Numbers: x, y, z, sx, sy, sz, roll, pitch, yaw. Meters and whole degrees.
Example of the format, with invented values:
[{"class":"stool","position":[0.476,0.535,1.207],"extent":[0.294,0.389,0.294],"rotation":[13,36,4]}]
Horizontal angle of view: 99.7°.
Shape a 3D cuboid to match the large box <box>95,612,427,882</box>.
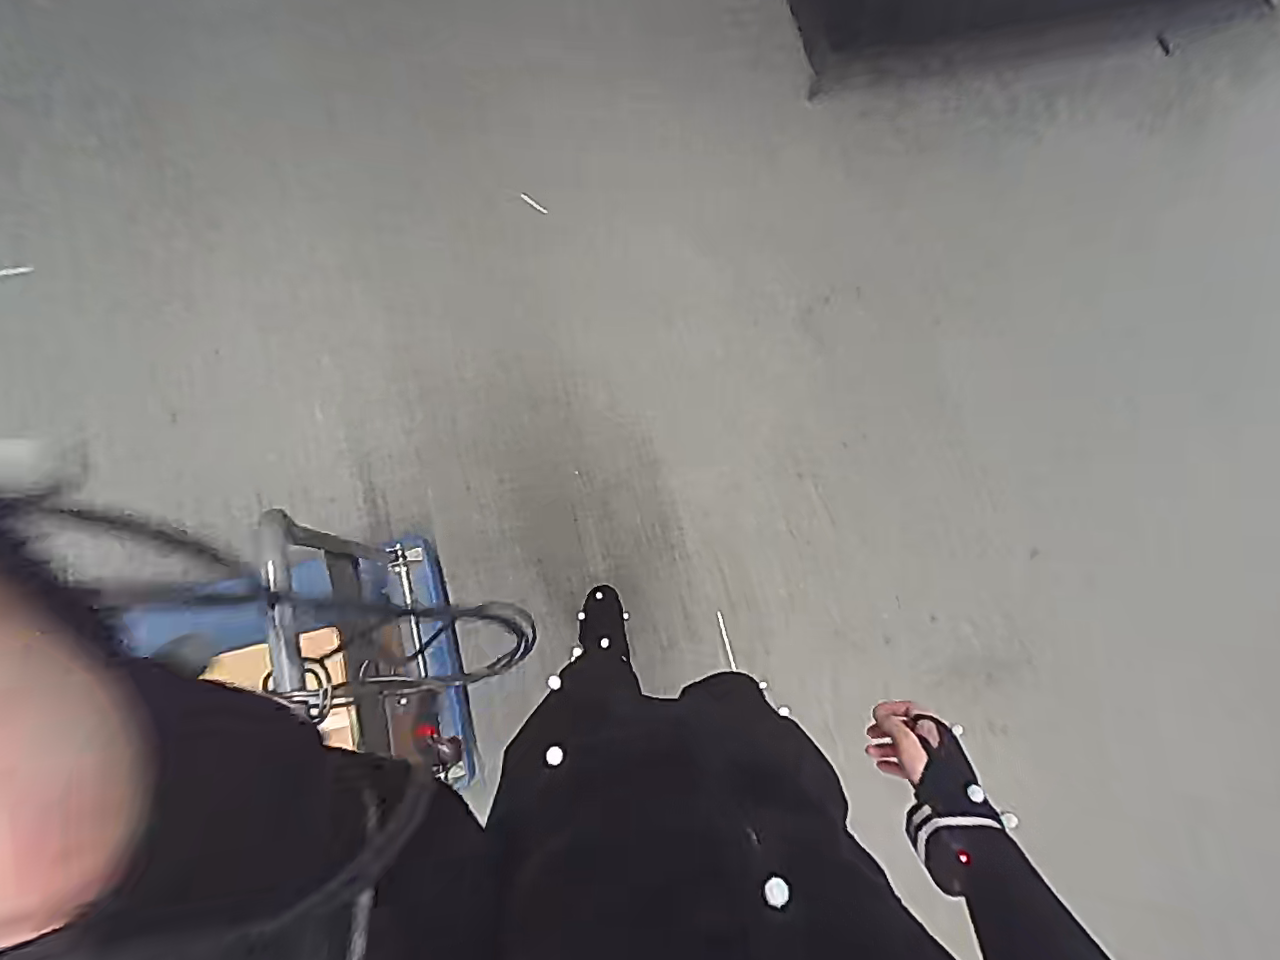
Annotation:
[{"class":"large box","position":[-0.677,0.461,1.033],"extent":[0.408,0.320,0.320],"rotation":[-13,80,-7]}]
